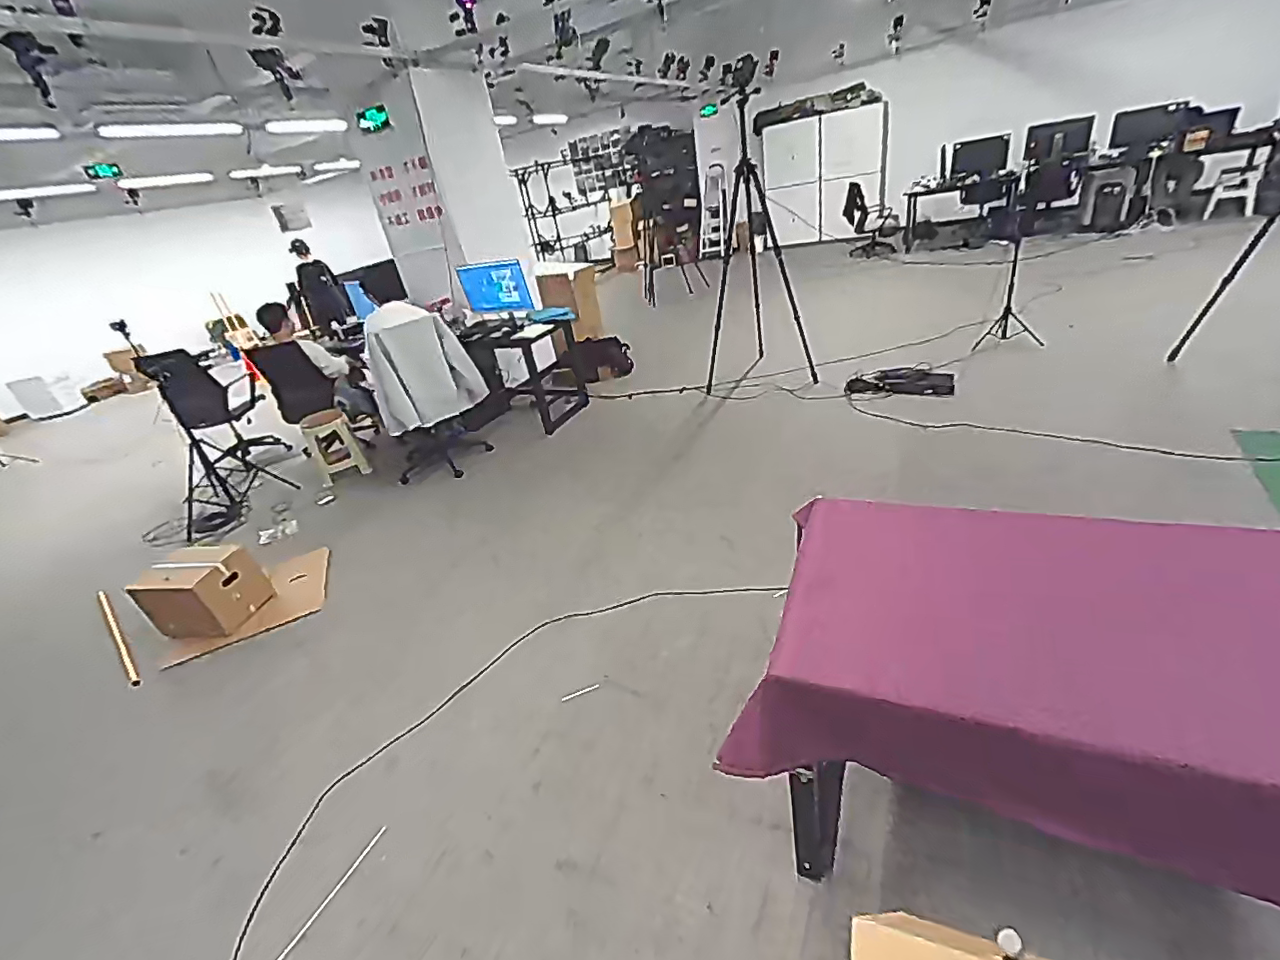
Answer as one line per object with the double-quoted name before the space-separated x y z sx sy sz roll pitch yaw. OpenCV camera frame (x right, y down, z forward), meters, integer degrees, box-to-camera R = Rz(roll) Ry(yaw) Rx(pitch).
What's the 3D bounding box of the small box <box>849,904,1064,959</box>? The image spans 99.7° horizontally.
"small box" 0.248 0.416 0.365 0.179 0.176 0.168 -6 55 32
